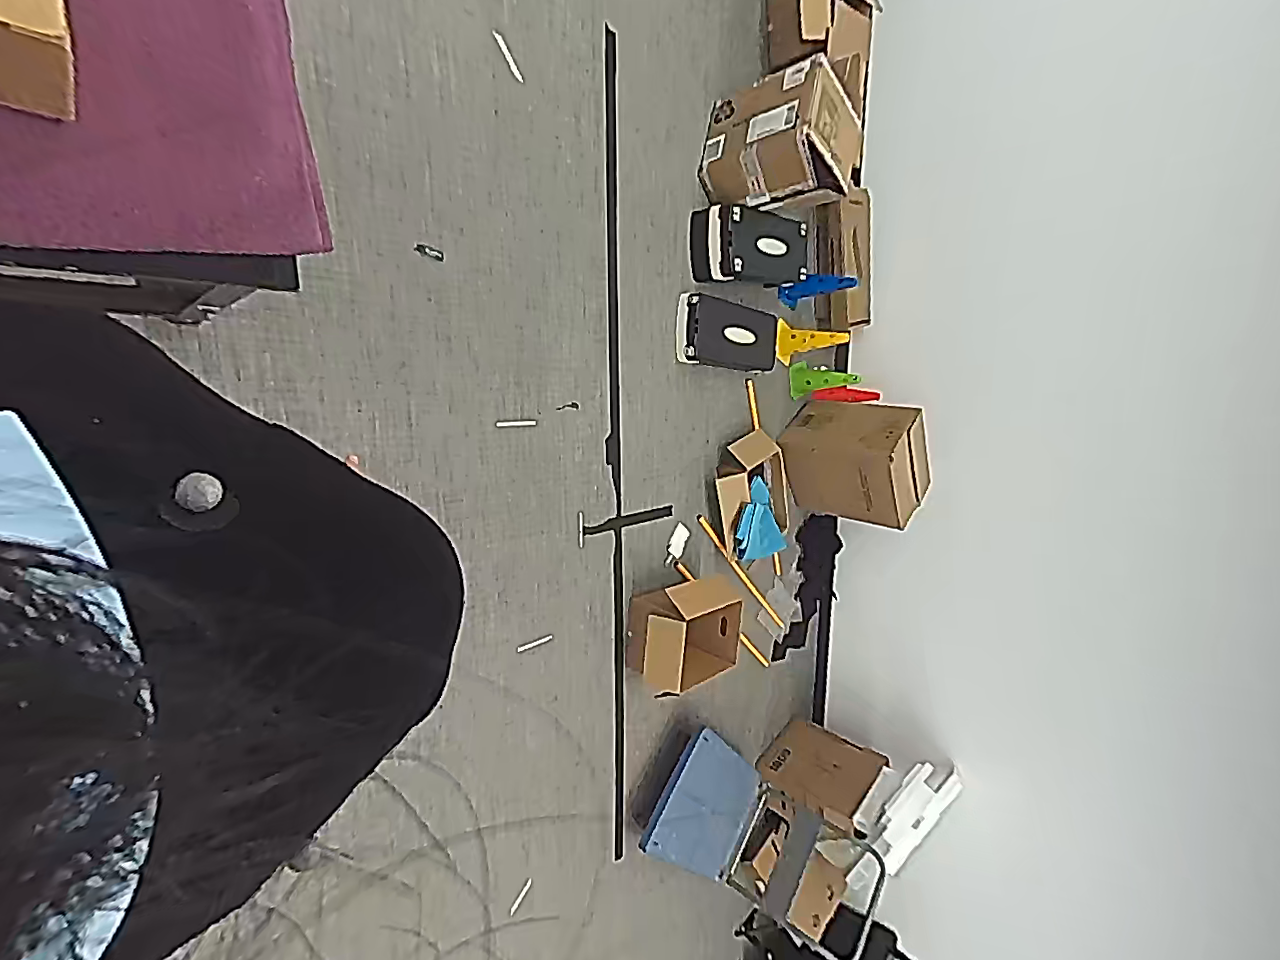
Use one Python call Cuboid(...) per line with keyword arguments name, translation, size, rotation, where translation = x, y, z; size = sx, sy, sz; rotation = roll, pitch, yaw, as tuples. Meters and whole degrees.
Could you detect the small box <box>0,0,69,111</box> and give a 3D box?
Cuboid(name="small box", translation=(-0.551, -0.420, 0.398), size=(0.168, 0.176, 0.179), rotation=(-8, 102, -45))
